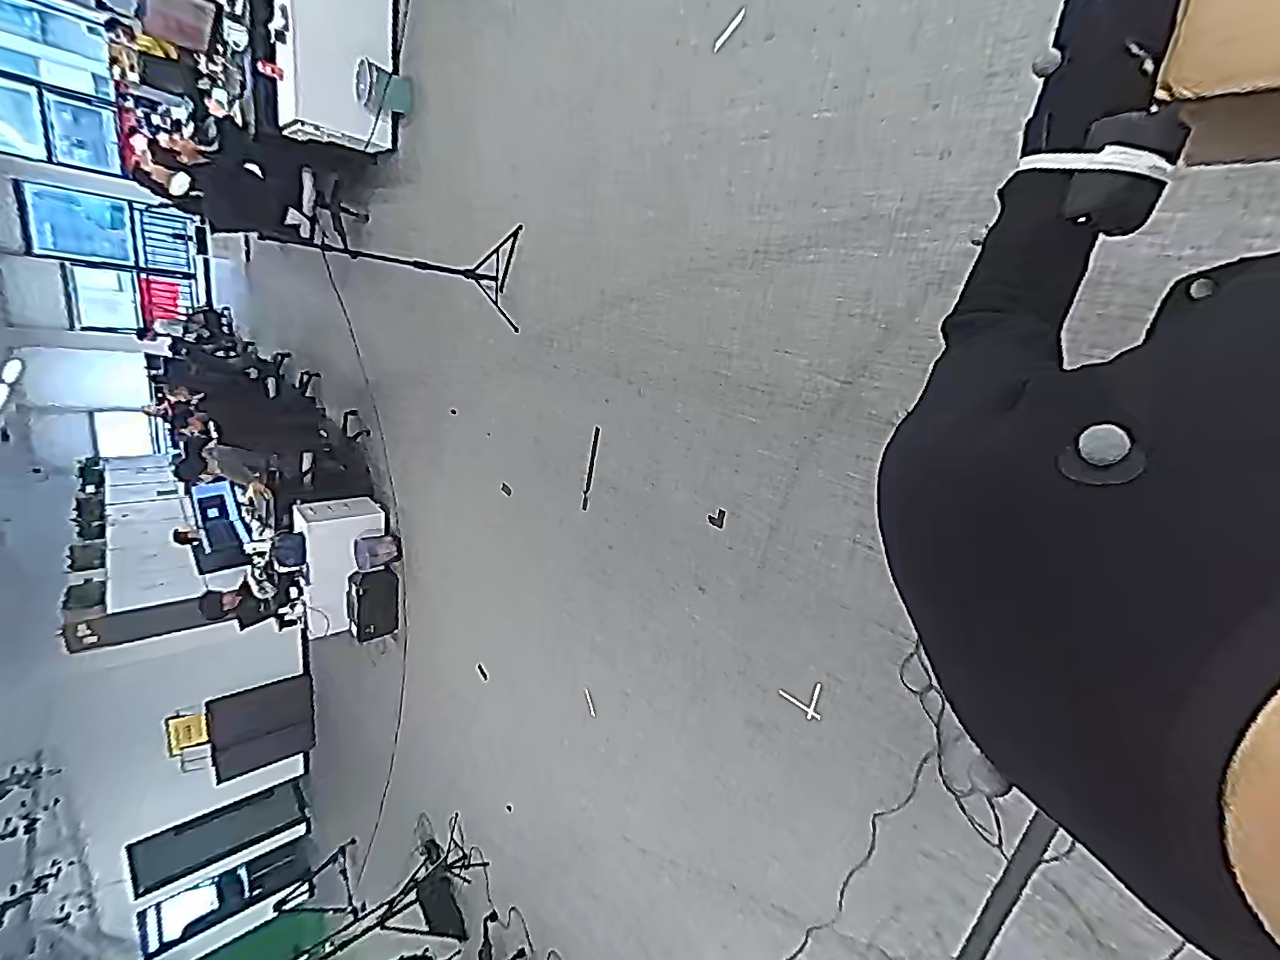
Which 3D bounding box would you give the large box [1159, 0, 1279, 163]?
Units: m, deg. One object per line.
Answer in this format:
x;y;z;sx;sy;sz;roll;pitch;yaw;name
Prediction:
0.594;-0.383;0.280;0.408;0.320;0.320;22;120;41;large box
